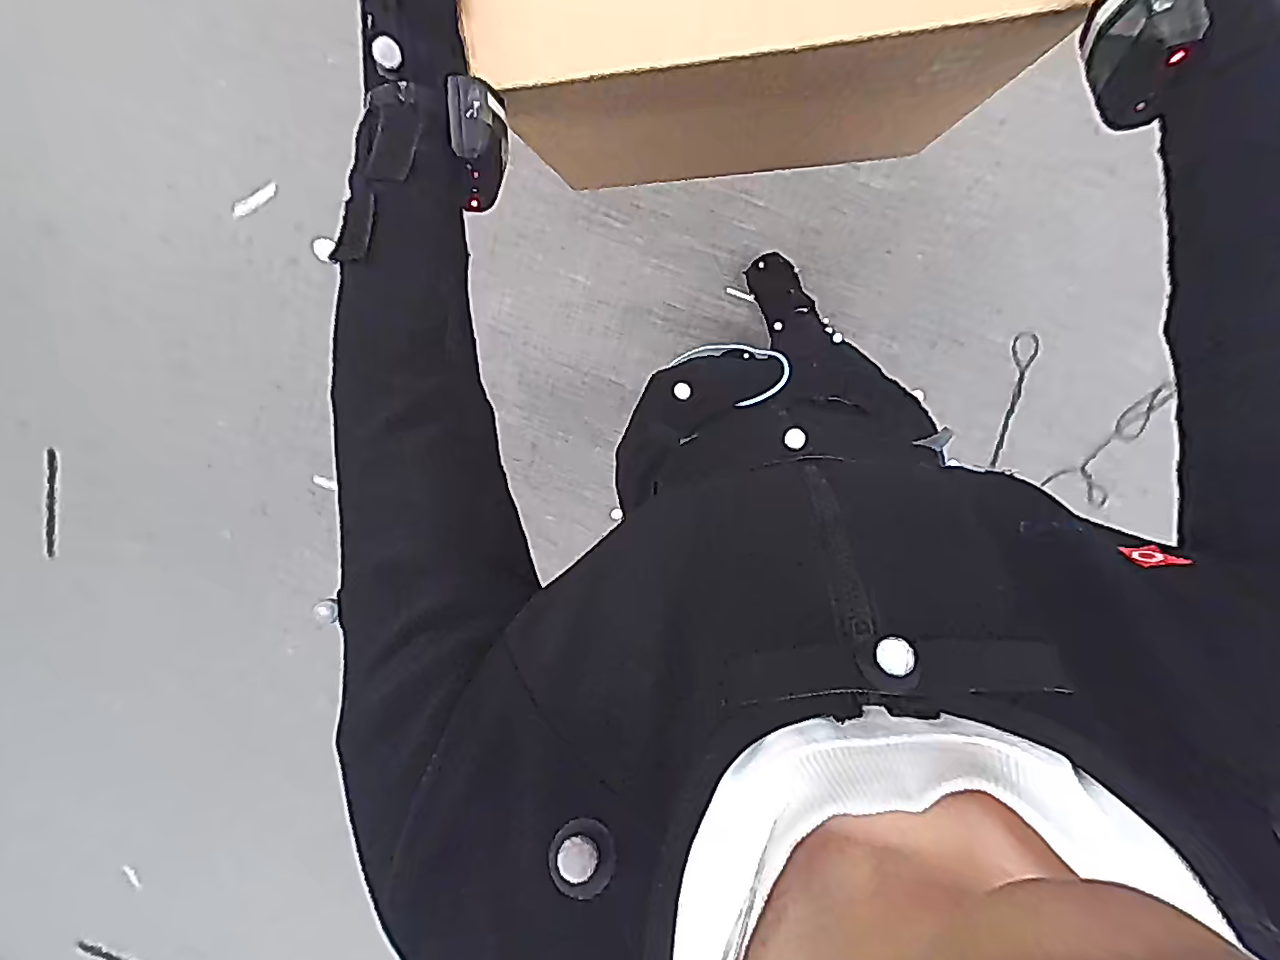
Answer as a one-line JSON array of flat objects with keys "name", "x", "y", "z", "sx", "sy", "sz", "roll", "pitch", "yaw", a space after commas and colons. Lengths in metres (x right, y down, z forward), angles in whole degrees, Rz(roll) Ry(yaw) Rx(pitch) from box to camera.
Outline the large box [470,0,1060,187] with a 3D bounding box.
[{"name": "large box", "x": 0.082, "y": -0.477, "z": 0.457, "sx": 0.408, "sy": 0.320, "sz": 0.320, "roll": -4, "pitch": 106, "yaw": 7}]
